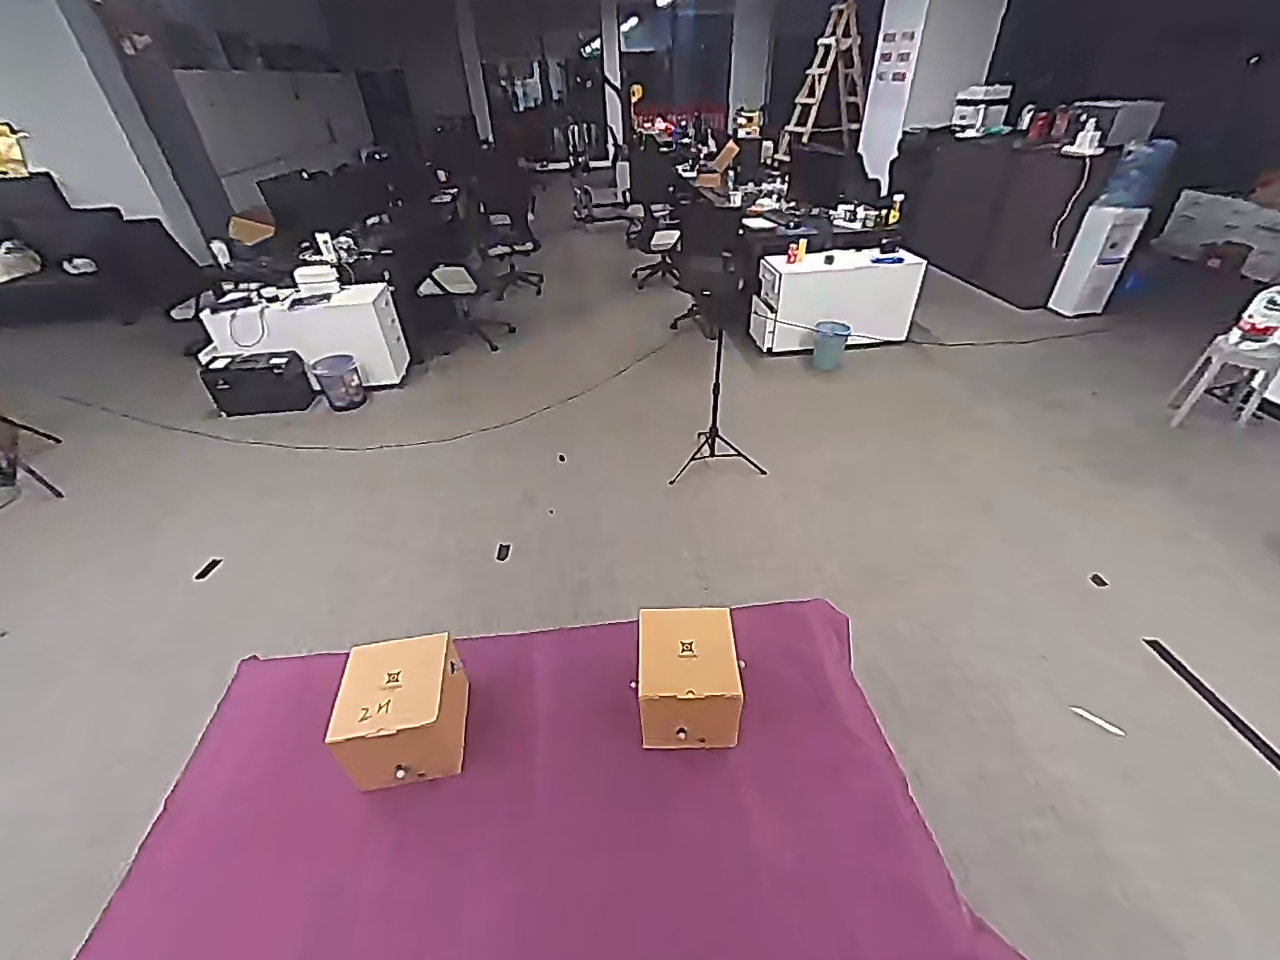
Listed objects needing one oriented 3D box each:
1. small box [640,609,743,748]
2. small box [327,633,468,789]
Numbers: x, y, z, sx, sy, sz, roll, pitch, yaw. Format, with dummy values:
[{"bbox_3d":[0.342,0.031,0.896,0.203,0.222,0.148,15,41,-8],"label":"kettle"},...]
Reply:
[{"bbox_3d":[0.084,0.351,0.965,0.168,0.176,0.179,-2,38,1],"label":"small box"},{"bbox_3d":[-0.401,0.394,0.931,0.168,0.176,0.179,-7,37,-6],"label":"small box"}]
